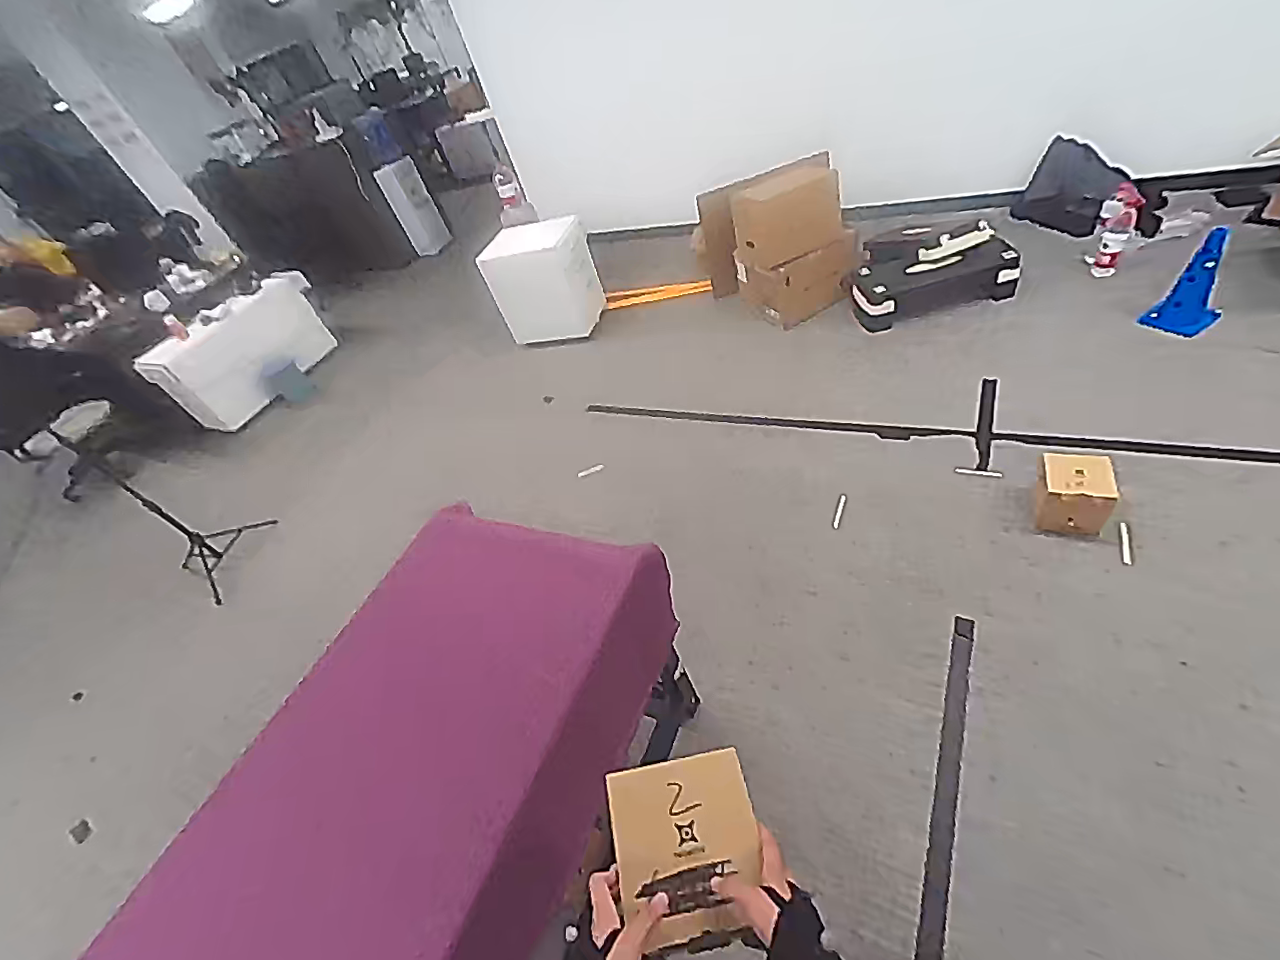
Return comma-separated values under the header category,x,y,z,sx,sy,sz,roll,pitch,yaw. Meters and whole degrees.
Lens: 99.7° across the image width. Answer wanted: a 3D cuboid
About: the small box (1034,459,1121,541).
category,x,y,z,sx,sy,sz,roll,pitch,yaw
small box,1.326,0.060,1.652,0.168,0.176,0.179,6,50,26
